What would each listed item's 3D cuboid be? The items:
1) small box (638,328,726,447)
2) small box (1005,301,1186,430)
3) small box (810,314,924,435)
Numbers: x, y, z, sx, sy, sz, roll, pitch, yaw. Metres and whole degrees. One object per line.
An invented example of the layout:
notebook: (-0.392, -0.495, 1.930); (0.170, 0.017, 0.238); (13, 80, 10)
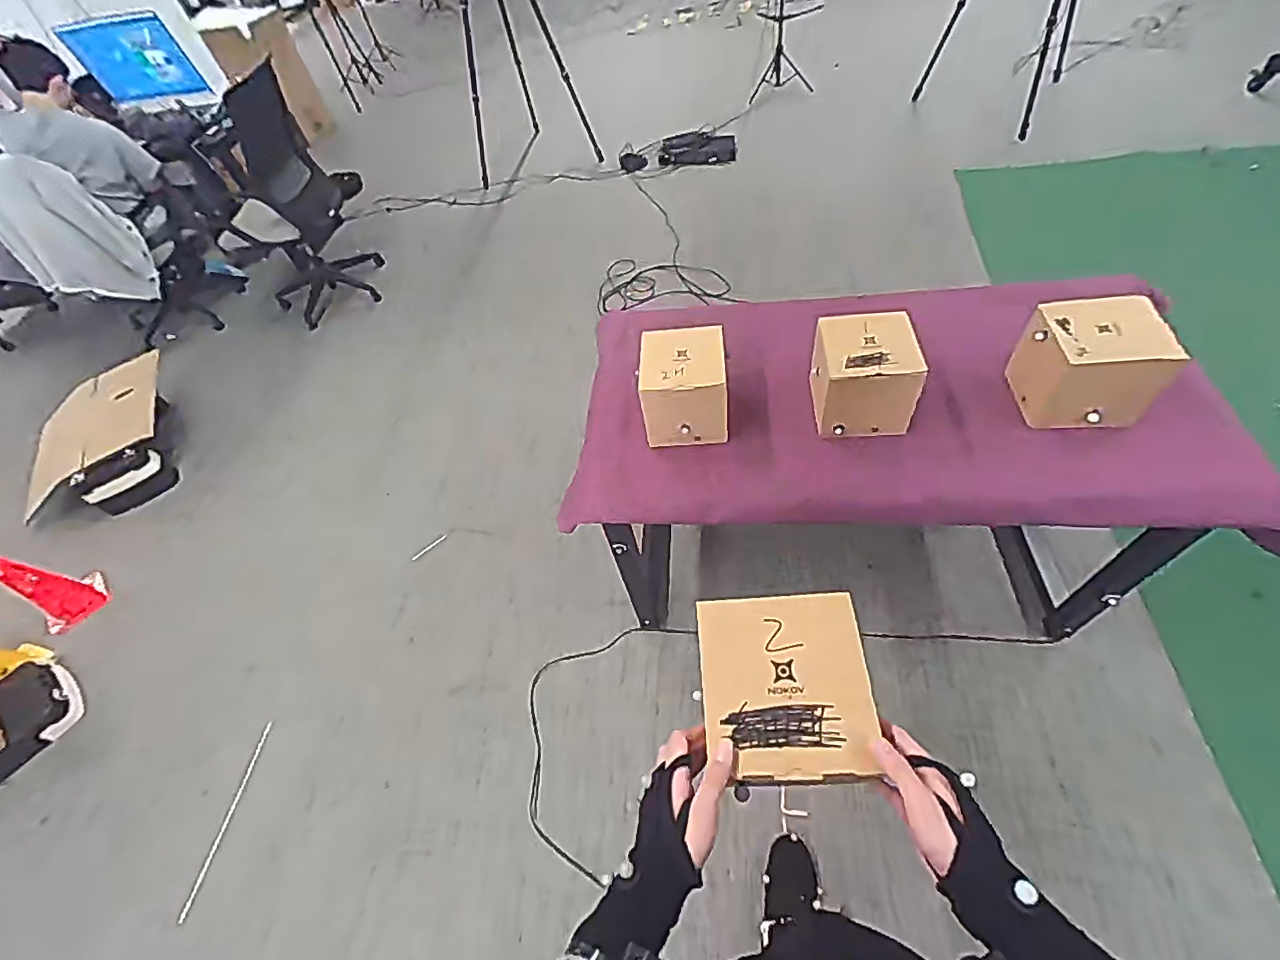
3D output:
small box: (0.092, -0.188, 1.117); (0.168, 0.176, 0.179); (-3, 53, 9)
small box: (0.820, -0.206, 0.997); (0.179, 0.176, 0.168); (0, 54, 10)
small box: (0.434, -0.199, 1.065); (0.168, 0.176, 0.179); (-2, 53, 9)
